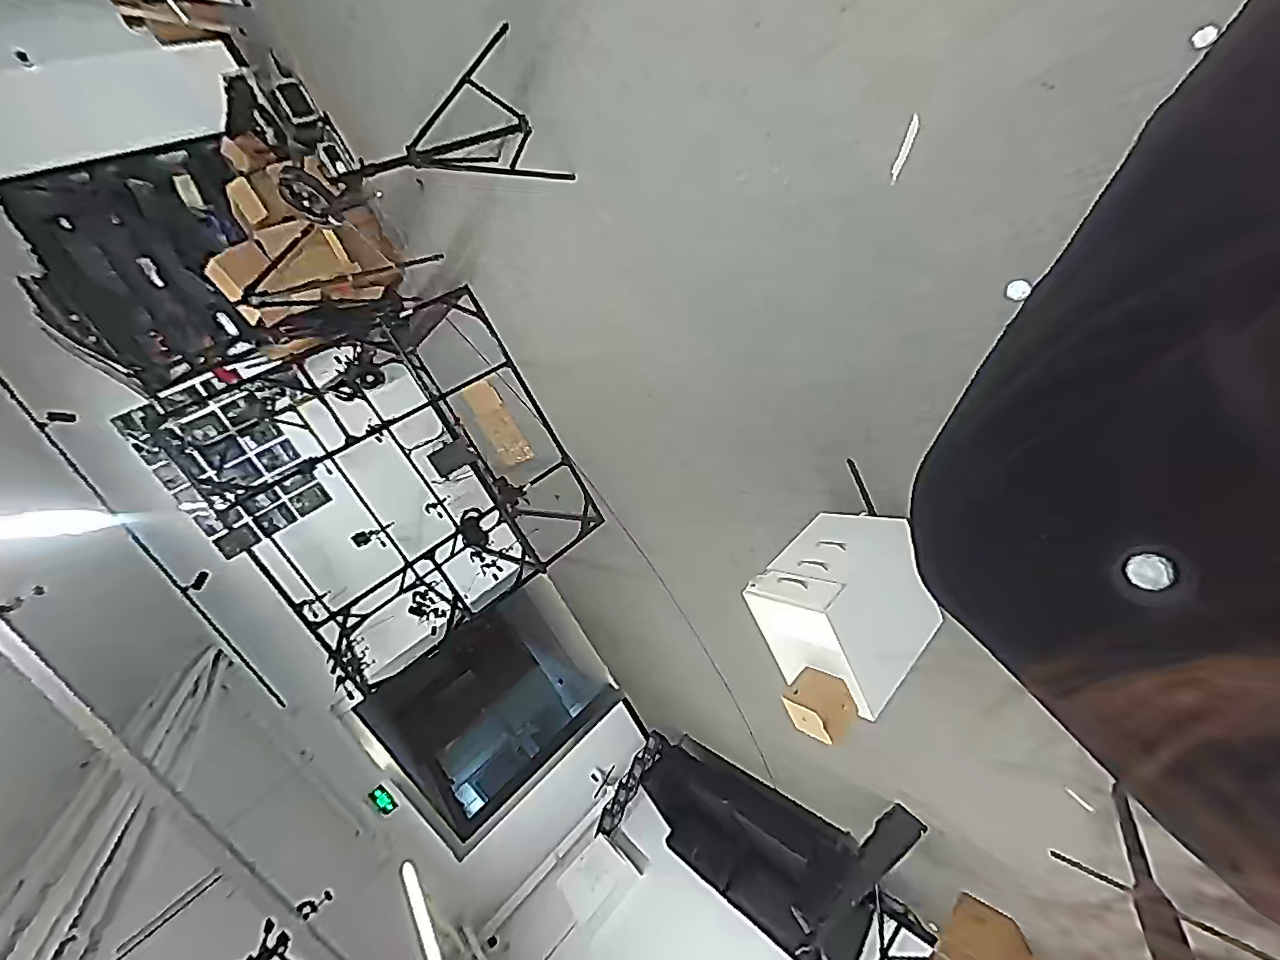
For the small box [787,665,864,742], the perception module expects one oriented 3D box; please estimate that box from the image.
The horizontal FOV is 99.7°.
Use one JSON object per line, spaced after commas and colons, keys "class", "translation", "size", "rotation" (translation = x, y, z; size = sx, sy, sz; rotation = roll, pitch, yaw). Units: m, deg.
{"class": "small box", "translation": [0.684, 0.812, 1.988], "size": [0.179, 0.176, 0.168], "rotation": [0, 123, 59]}
